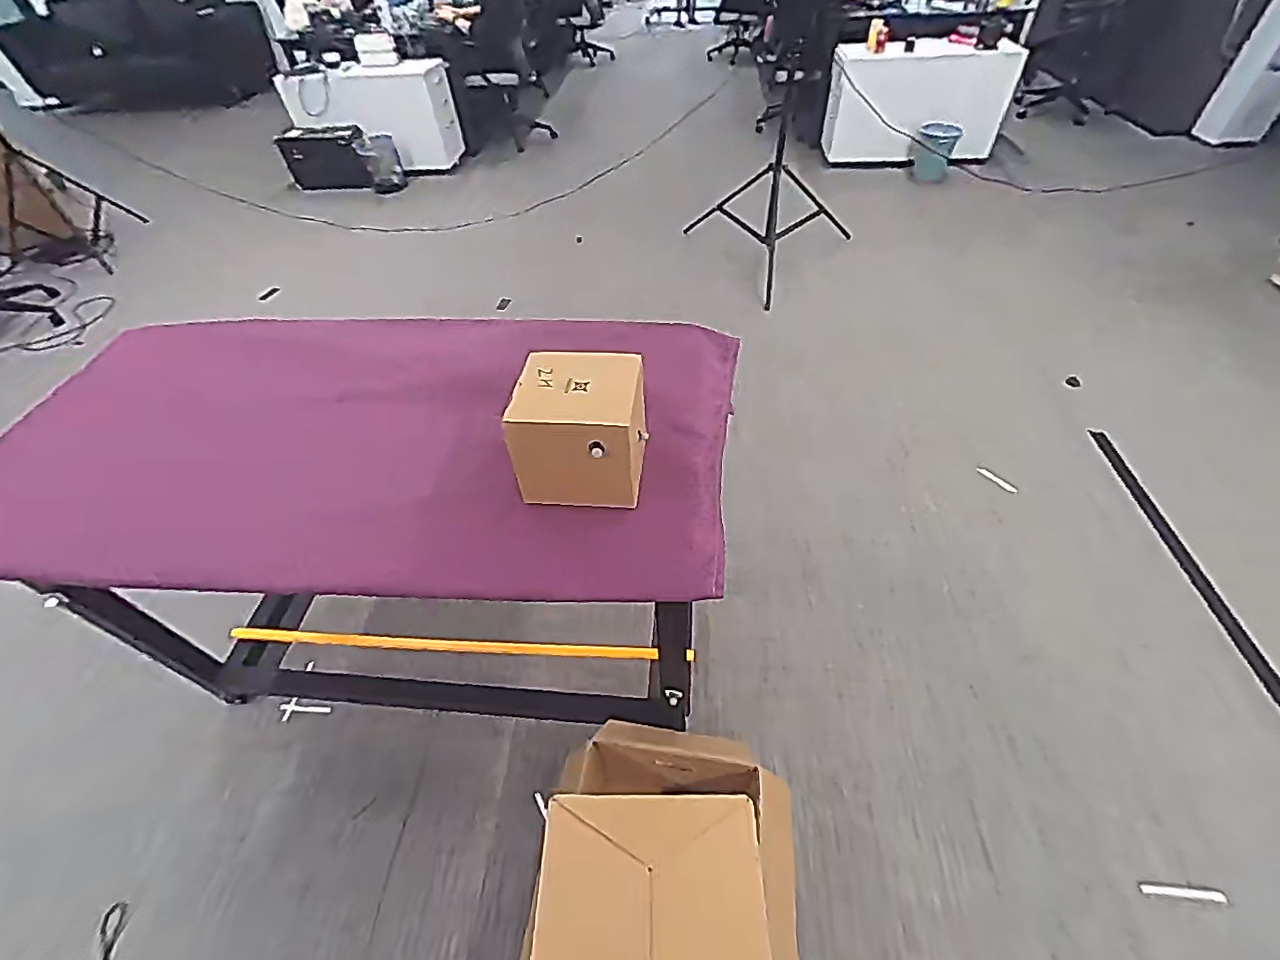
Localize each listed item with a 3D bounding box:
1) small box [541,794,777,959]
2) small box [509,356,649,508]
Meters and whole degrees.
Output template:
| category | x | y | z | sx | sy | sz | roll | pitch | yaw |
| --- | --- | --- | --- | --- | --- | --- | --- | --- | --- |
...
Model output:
| category | x | y | z | sx | sy | sz | roll | pitch | yaw |
| --- | --- | --- | --- | --- | --- | --- | --- | --- | --- |
| small box | 0.012 | 0.383 | 0.463 | 0.179 | 0.176 | 0.168 | -1 | 45 | 1 |
| small box | -0.080 | -0.071 | 0.831 | 0.179 | 0.176 | 0.168 | 3 | 46 | 6 |
